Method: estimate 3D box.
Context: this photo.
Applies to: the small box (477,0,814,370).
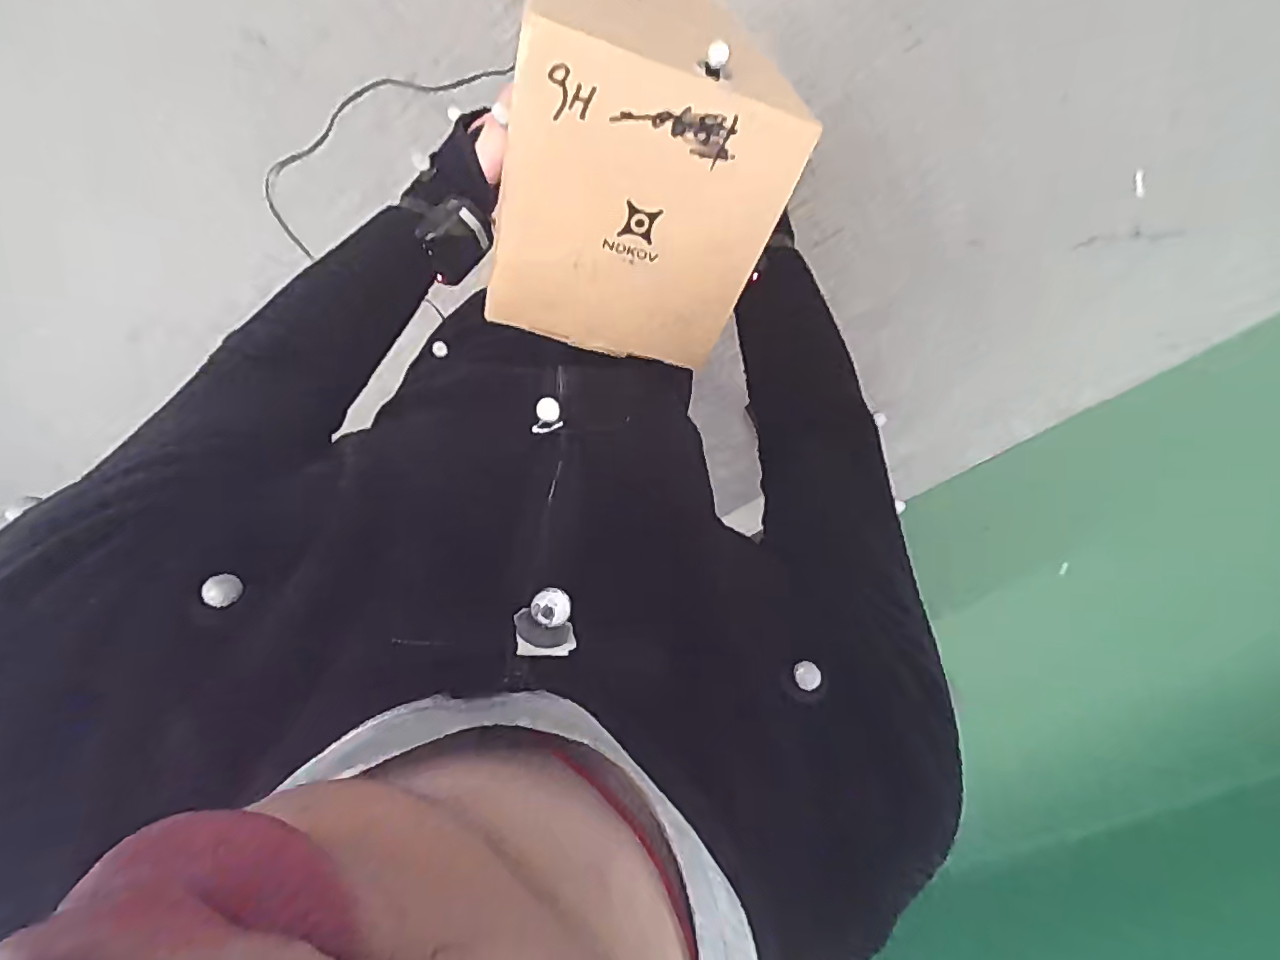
[{"bbox_3d":[-0.012,-0.209,0.373,0.168,0.176,0.179,8,140,-15],"label":"small box"}]
